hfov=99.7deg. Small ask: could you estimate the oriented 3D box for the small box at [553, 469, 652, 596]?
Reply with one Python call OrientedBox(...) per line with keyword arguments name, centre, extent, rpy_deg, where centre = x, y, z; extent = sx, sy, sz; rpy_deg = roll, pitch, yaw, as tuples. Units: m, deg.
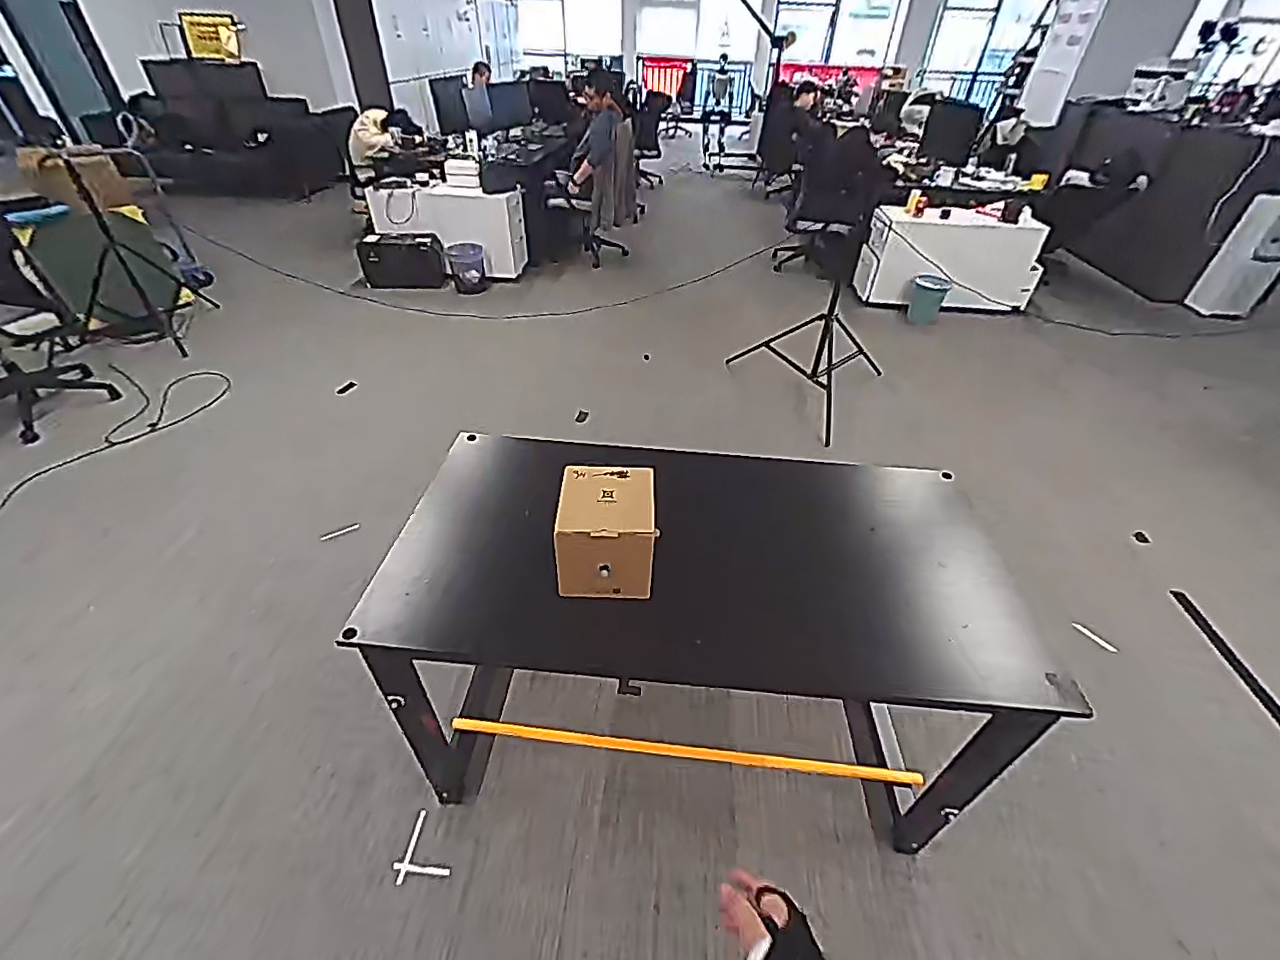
OrientedBox(name="small box", centre=(-0.061, 0.098, 0.998), extent=(0.168, 0.176, 0.179), rpy_deg=(1, 40, 0))
